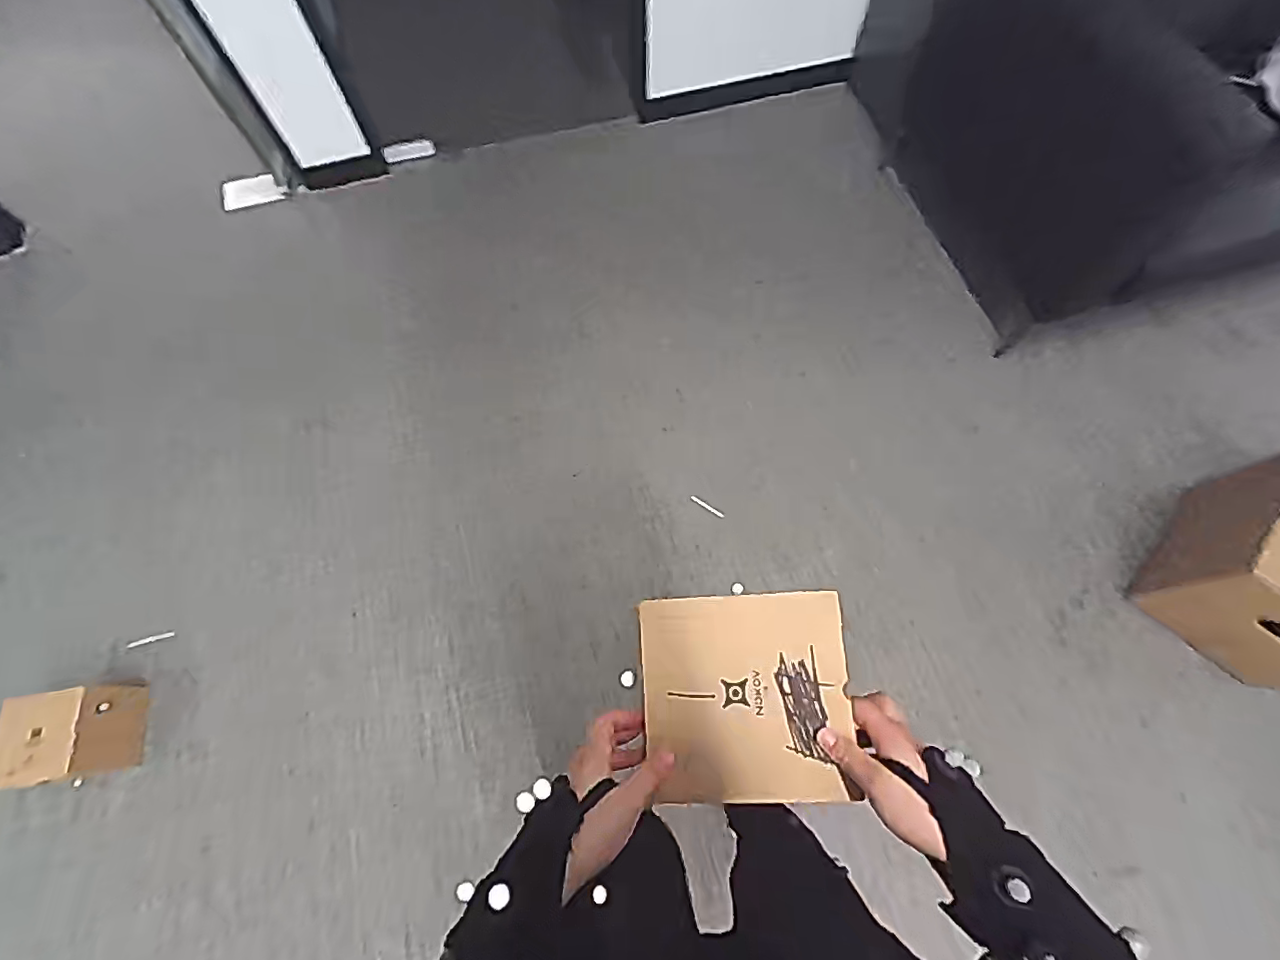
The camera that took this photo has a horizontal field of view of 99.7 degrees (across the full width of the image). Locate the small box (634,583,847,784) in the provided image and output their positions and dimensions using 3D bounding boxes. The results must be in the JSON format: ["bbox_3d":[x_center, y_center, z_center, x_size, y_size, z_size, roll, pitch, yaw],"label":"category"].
[{"bbox_3d":[0.087,0.198,0.561,0.179,0.176,0.168,-3,74,-2],"label":"small box"}]

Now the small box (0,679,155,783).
[{"bbox_3d":[-1.215,0.541,1.177,0.168,0.176,0.179,-10,69,-3],"label":"small box"}]
